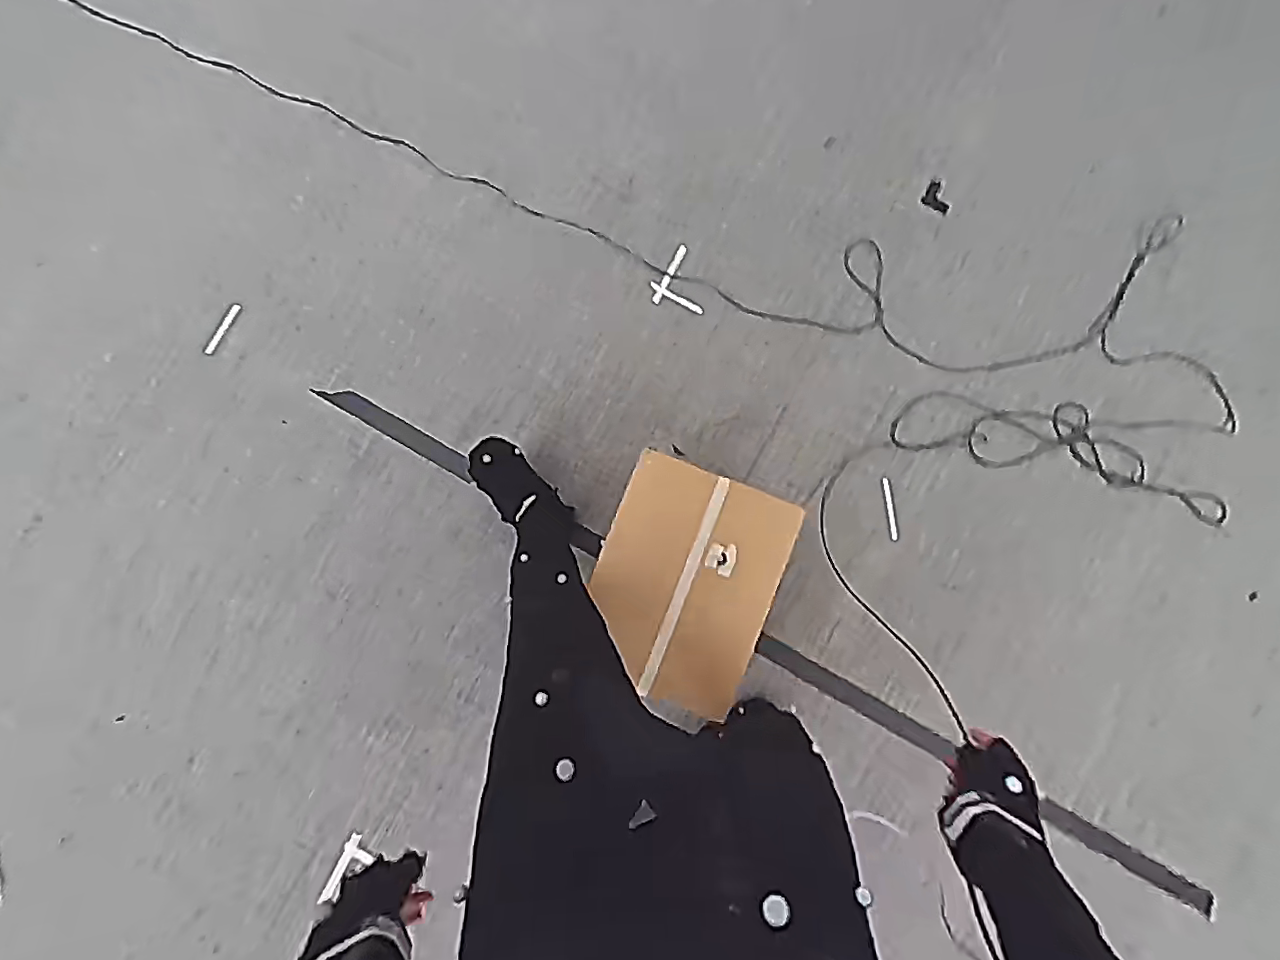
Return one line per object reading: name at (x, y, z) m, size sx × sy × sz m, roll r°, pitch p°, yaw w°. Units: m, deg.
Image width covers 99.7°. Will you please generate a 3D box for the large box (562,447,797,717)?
large box at (0.076, 0.192, 1.112) m, size 0.320 × 0.320 × 0.408 m, roll 22°, pitch 86°, yaw 3°
